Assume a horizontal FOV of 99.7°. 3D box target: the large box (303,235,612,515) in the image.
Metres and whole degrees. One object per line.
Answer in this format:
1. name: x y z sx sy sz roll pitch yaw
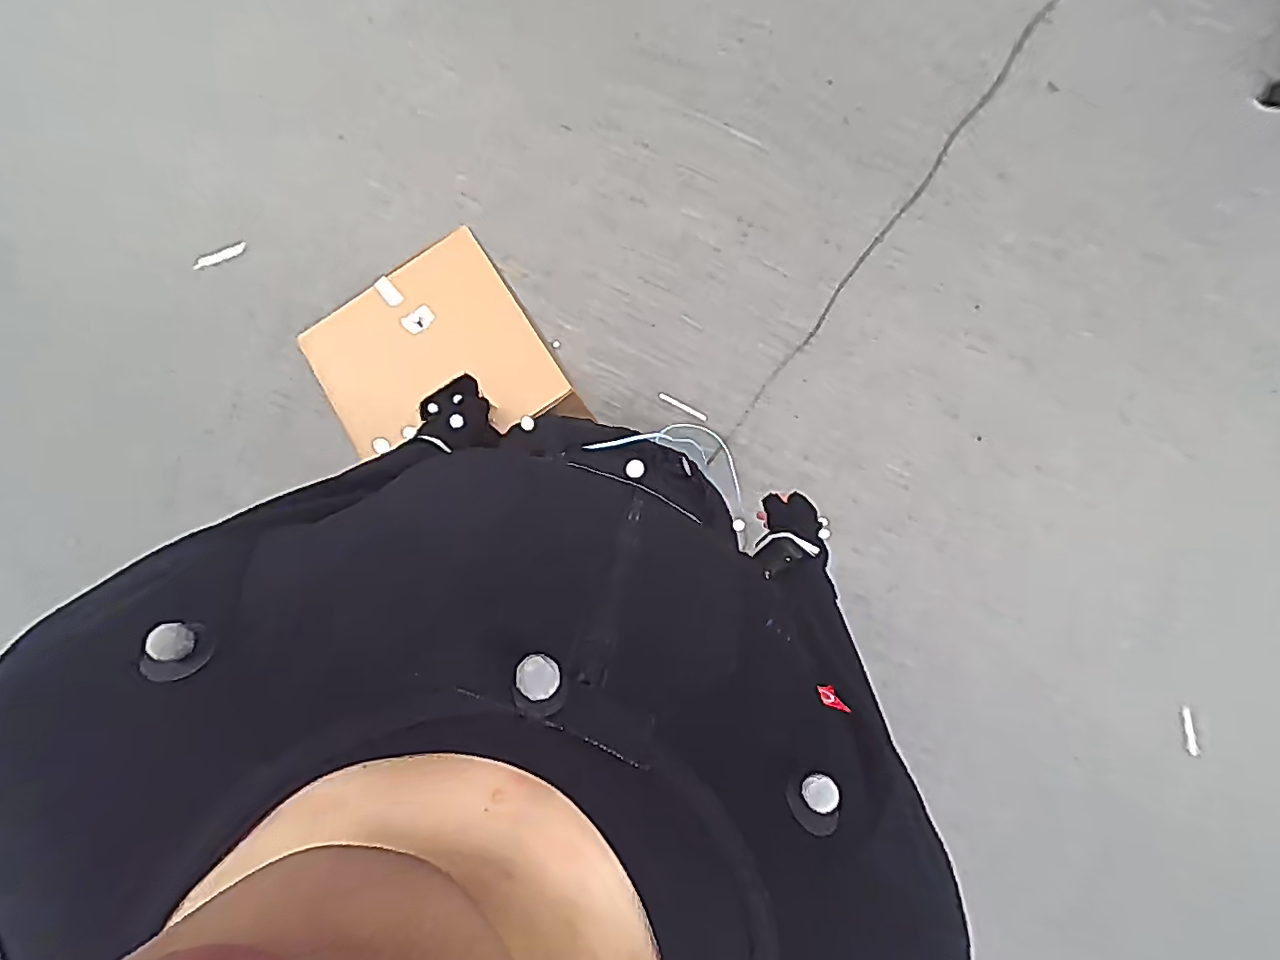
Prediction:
1. large box: -0.292 -0.151 0.987 0.320 0.408 0.320 -33 81 2
